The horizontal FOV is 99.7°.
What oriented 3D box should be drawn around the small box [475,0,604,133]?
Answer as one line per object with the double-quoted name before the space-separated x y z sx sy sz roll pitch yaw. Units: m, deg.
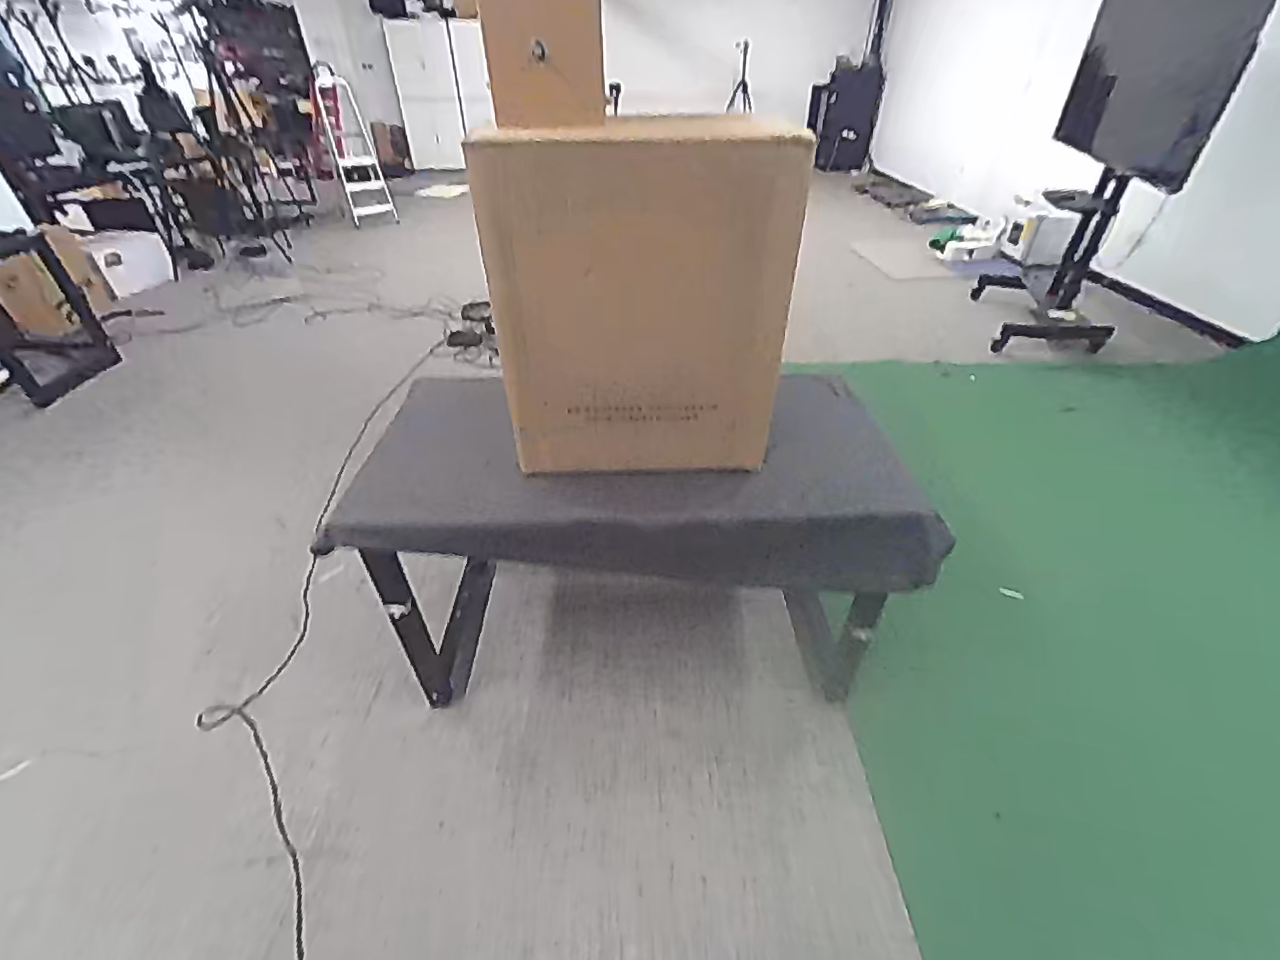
"small box" -0.147 -0.668 0.861 0.179 0.176 0.168 -5 40 -2
